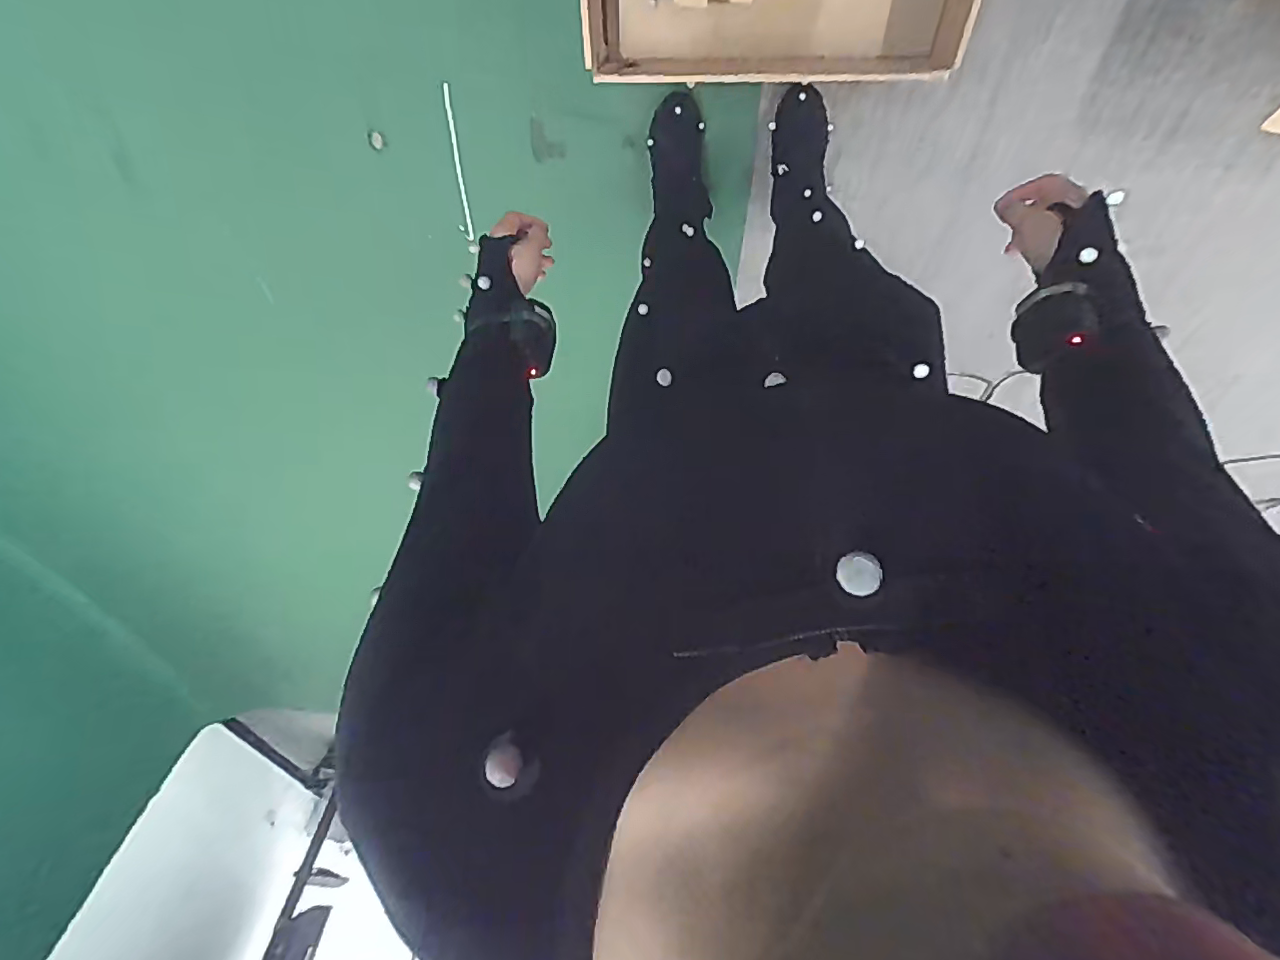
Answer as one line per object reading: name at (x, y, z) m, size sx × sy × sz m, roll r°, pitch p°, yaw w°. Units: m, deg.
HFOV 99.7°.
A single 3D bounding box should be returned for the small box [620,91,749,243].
small box at (0.098, -0.624, 1.092) m, size 0.179 × 0.168 × 0.176 m, roll -48°, pitch 145°, yaw 14°
